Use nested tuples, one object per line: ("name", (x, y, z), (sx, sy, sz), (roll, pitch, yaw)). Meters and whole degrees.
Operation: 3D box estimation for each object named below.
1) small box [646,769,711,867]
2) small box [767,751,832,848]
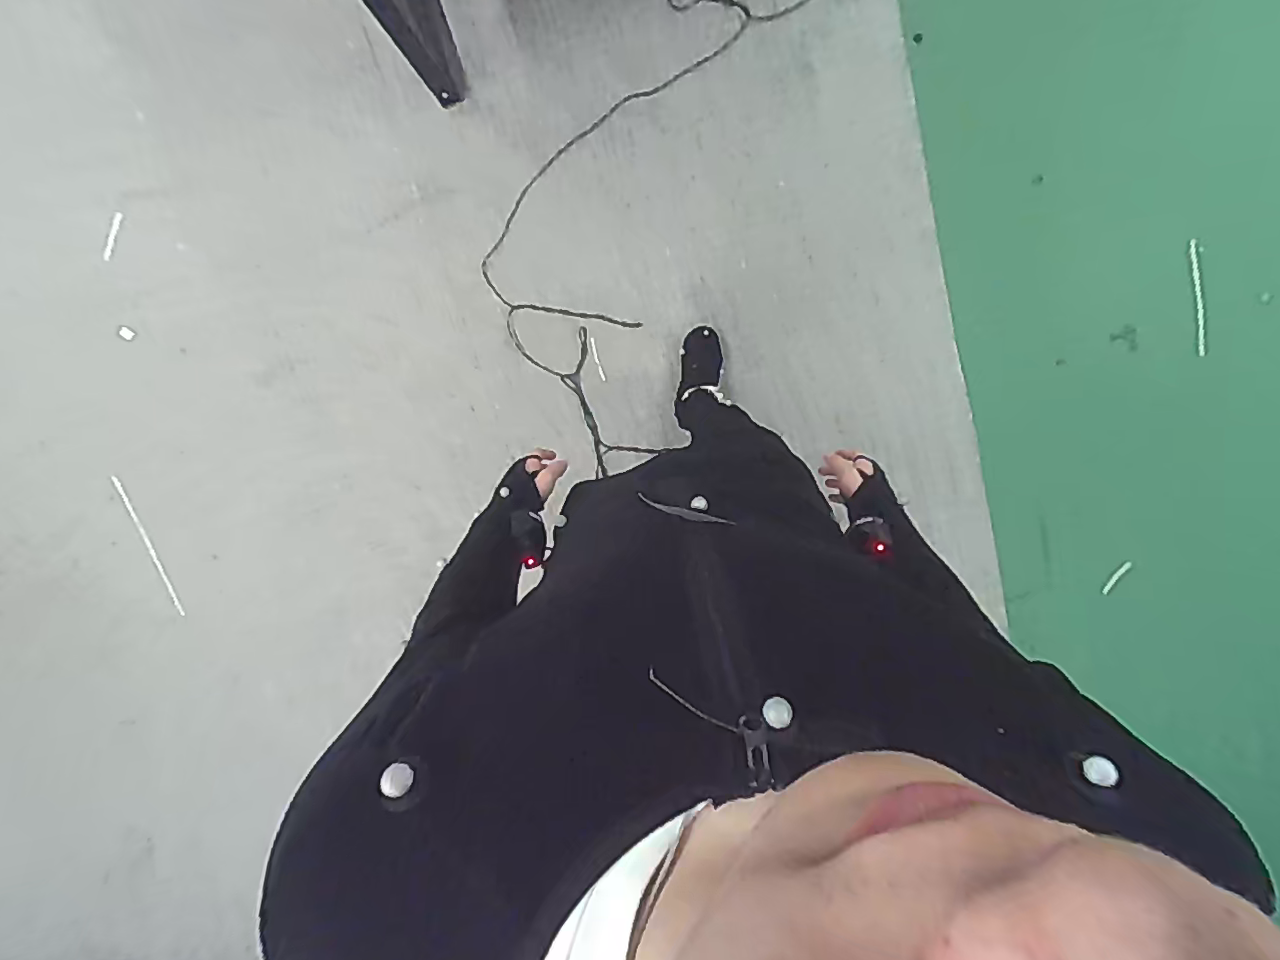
("small box", (0.105, 0.943, 1.525), (0.168, 0.176, 0.179), (-6, 102, 3))
("small box", (0.515, 0.993, 1.692), (0.168, 0.176, 0.179), (-21, 100, 6))
